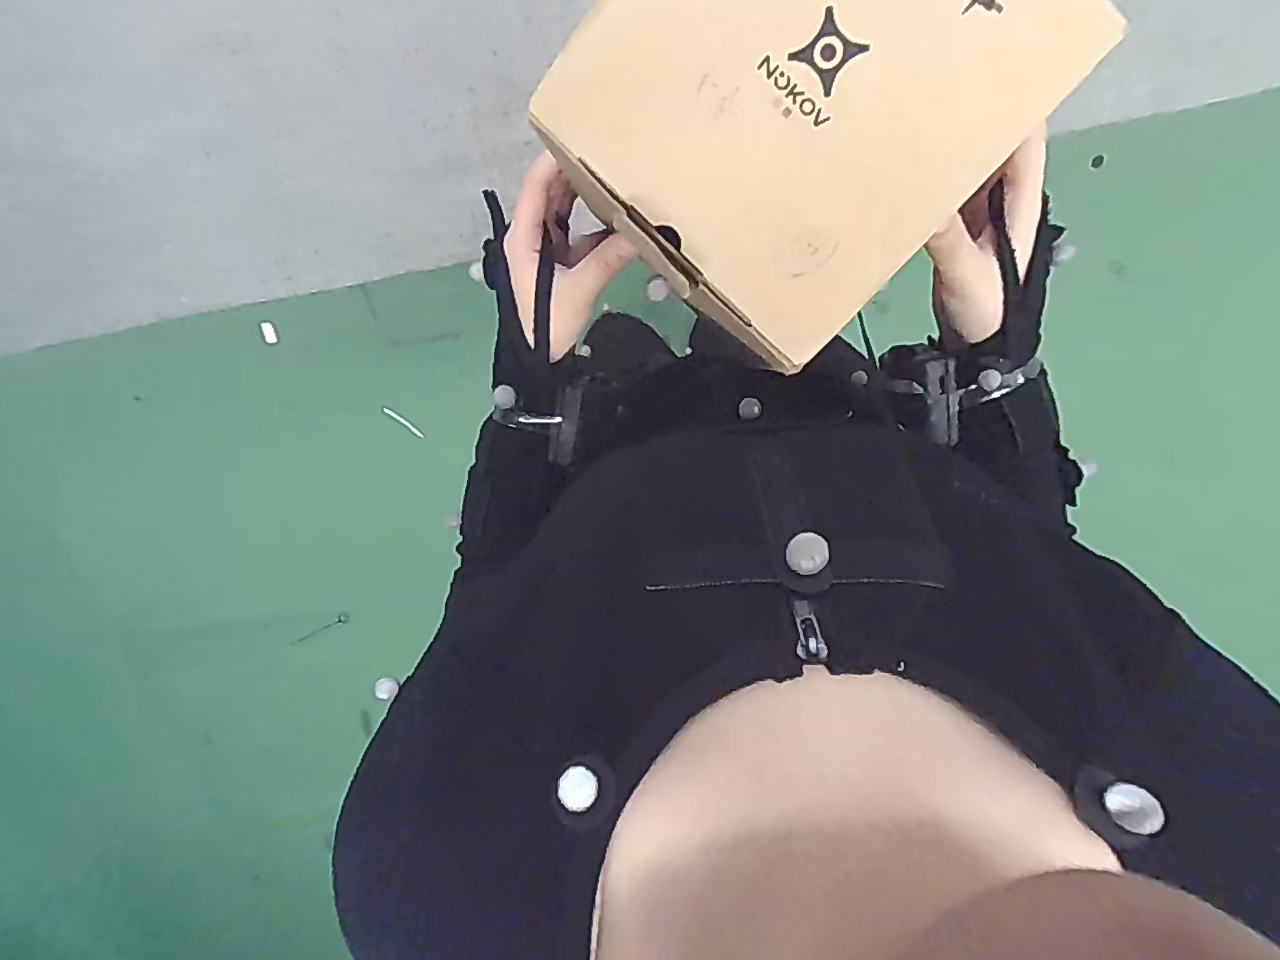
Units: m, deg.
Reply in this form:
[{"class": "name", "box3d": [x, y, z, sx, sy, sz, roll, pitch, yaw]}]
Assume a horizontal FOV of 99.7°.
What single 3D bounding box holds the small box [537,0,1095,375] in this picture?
[{"class": "small box", "box3d": [0.077, -0.180, 0.307, 0.168, 0.176, 0.179, 42, 104, -4]}]
